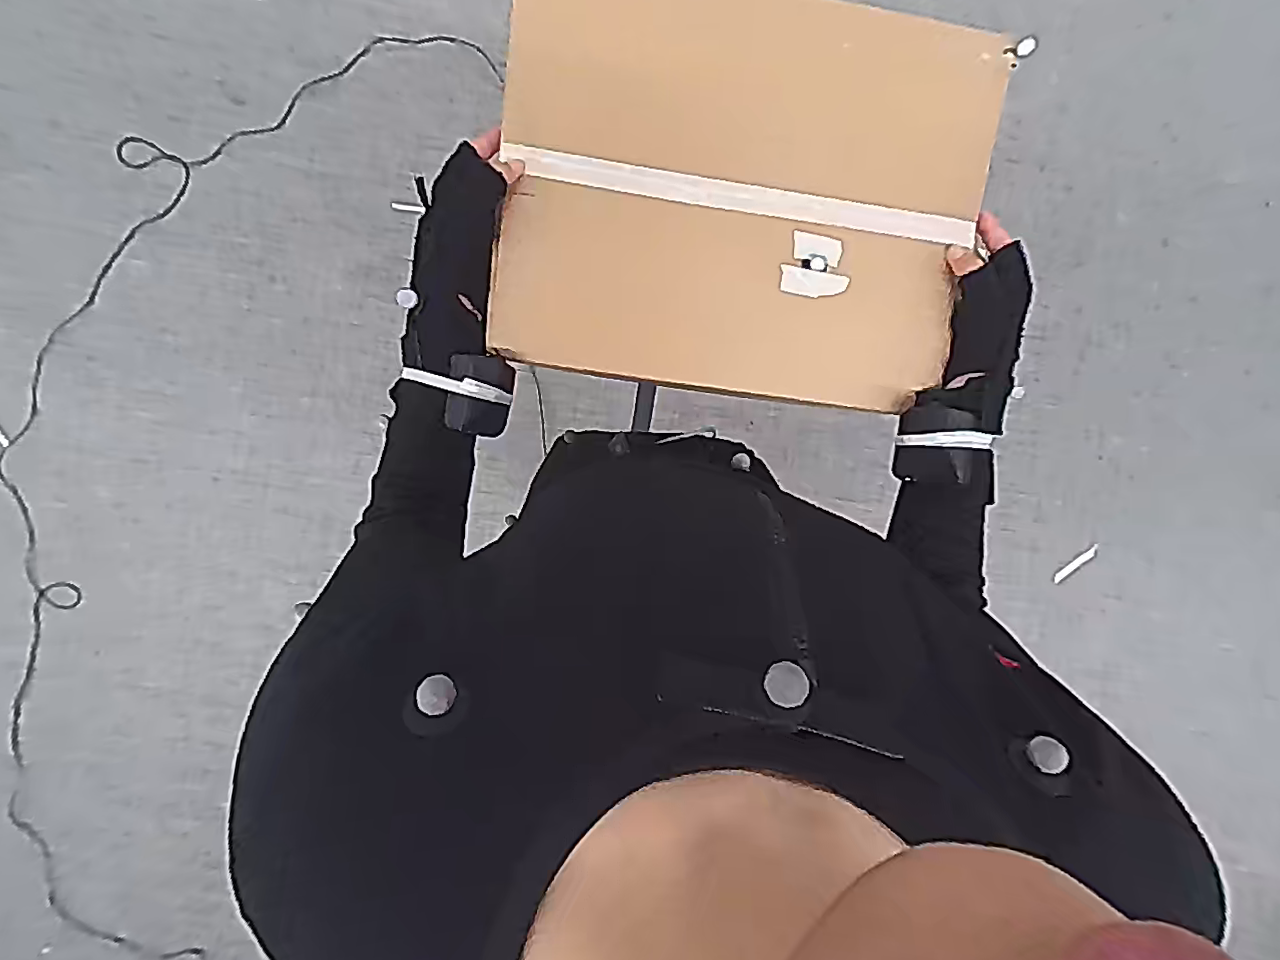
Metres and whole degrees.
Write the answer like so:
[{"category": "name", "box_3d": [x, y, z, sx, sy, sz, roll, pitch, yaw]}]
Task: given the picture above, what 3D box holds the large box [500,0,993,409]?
[{"category": "large box", "box_3d": [0.076, -0.263, 0.612, 0.408, 0.320, 0.320, 7, 101, -6]}]
